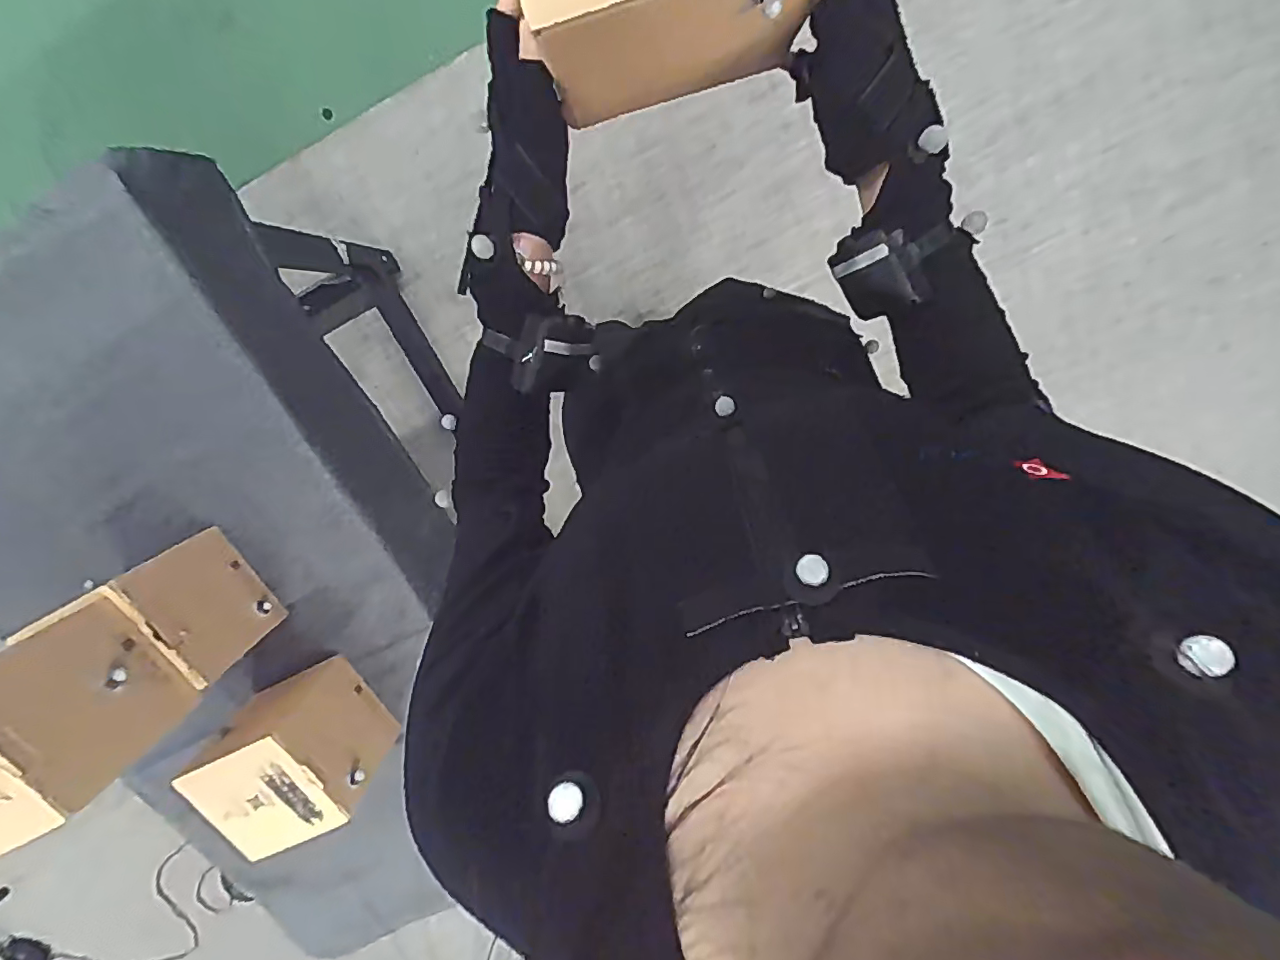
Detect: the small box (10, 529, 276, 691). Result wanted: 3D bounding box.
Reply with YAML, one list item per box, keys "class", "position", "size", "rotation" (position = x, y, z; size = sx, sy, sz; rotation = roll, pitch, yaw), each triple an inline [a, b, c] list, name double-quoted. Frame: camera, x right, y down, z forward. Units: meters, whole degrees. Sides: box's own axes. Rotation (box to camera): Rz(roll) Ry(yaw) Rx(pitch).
- class: "small box"
  position: [-0.639, 0.191, 0.729]
  size: [0.179, 0.176, 0.168]
  rotation: [-26, 106, 10]

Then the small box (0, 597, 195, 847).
- class: "small box"
  position: [-0.649, 0.259, 0.579]
  size: [0.179, 0.176, 0.168]
  rotation: [-28, 106, 9]

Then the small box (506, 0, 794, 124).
- class: "small box"
  position: [0.000, -0.349, 0.326]
  size: [0.179, 0.176, 0.168]
  rotation: [-15, 107, 4]
